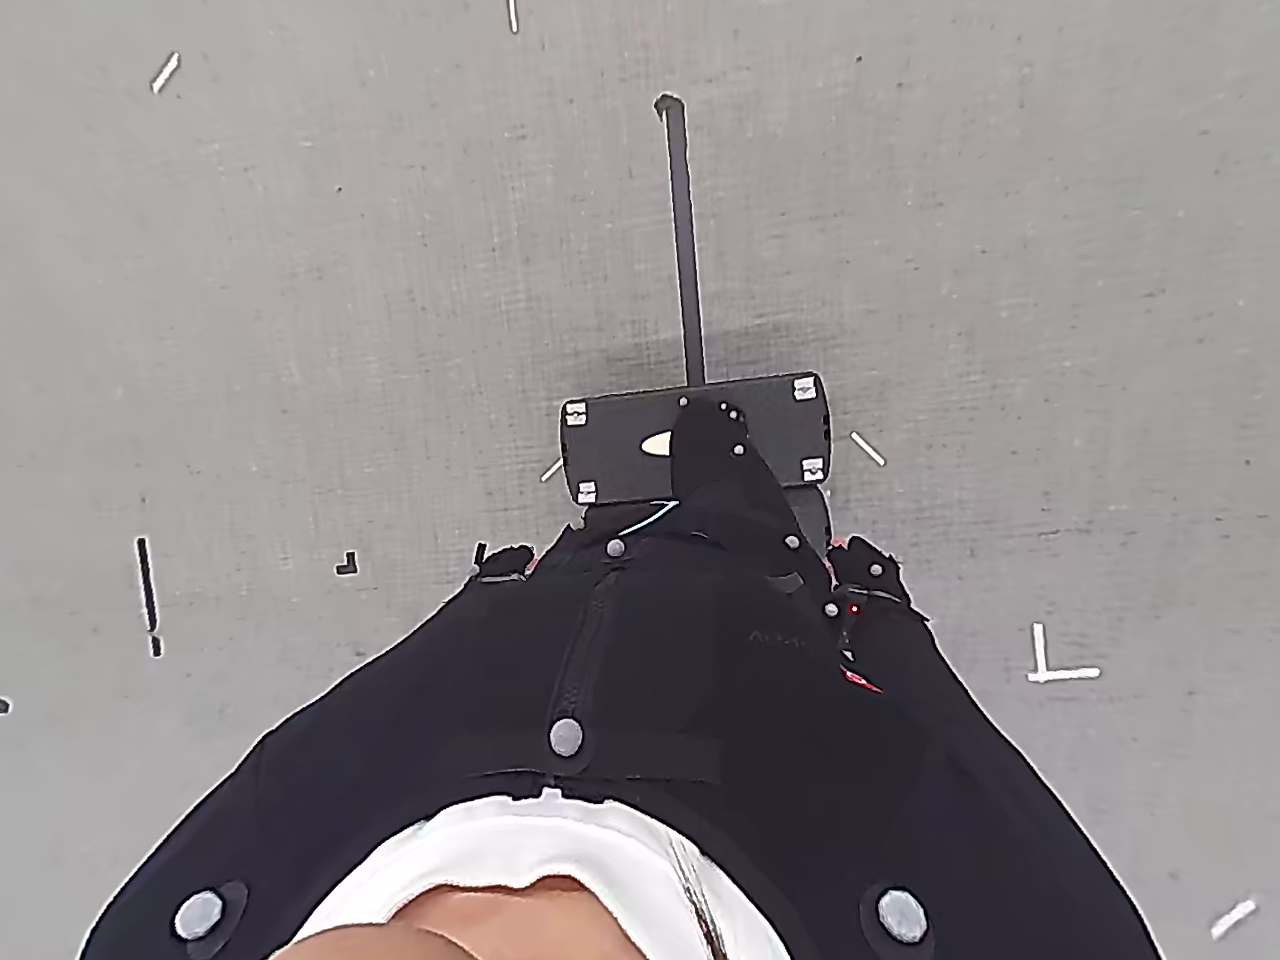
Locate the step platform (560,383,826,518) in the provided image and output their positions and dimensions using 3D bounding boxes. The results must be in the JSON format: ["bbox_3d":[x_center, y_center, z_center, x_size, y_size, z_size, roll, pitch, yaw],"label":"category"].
[{"bbox_3d":[0.132,-0.076,1.434,0.684,0.204,0.286,-7,95,7],"label":"step platform"}]
